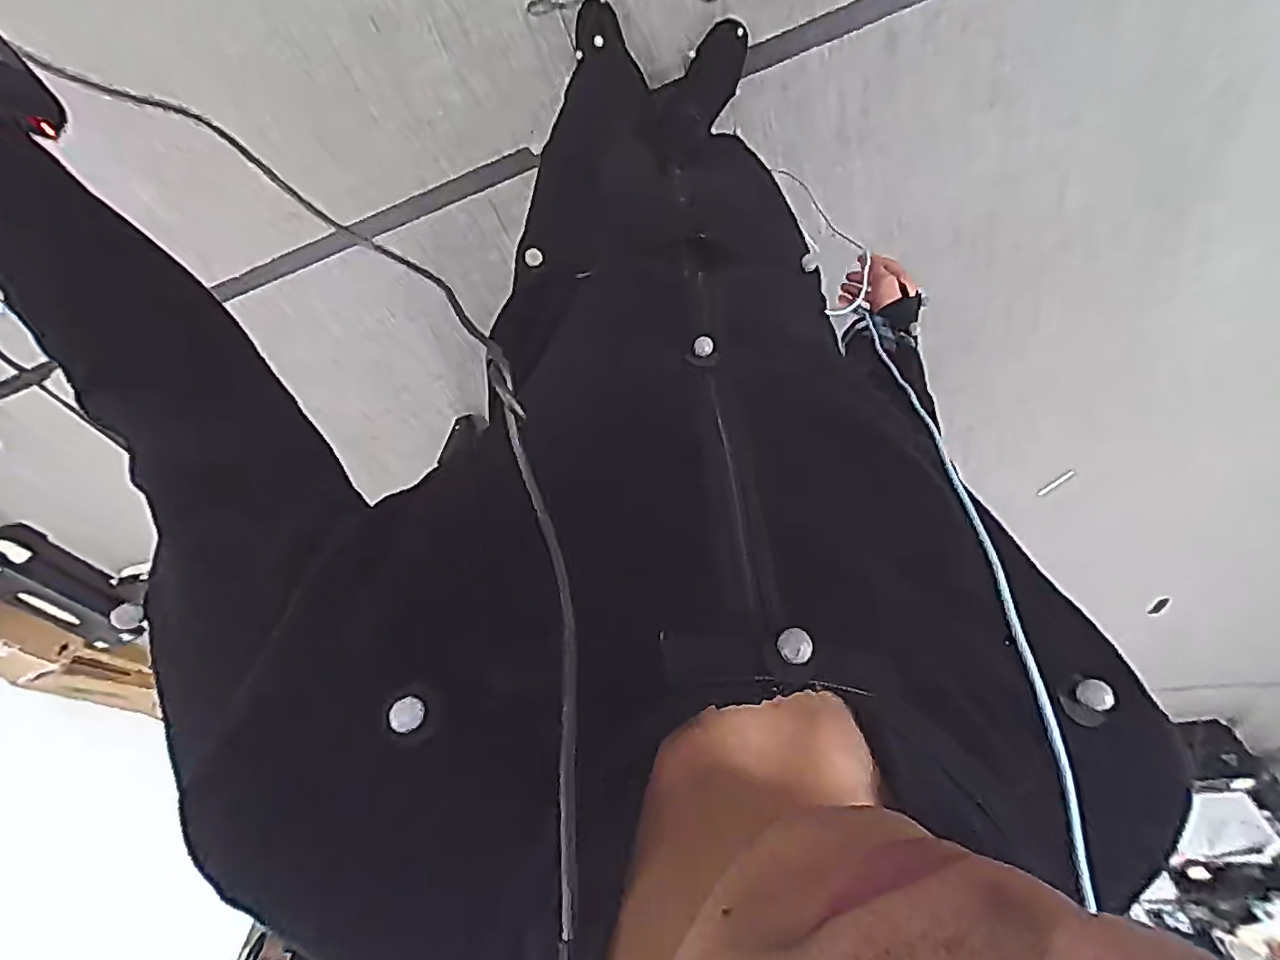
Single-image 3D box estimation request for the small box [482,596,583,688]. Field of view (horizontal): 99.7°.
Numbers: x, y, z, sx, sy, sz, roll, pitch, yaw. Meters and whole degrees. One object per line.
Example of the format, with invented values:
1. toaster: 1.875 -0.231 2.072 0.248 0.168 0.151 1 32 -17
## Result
1. small box: -0.250 0.395 1.305 0.168 0.176 0.179 -14 131 15
